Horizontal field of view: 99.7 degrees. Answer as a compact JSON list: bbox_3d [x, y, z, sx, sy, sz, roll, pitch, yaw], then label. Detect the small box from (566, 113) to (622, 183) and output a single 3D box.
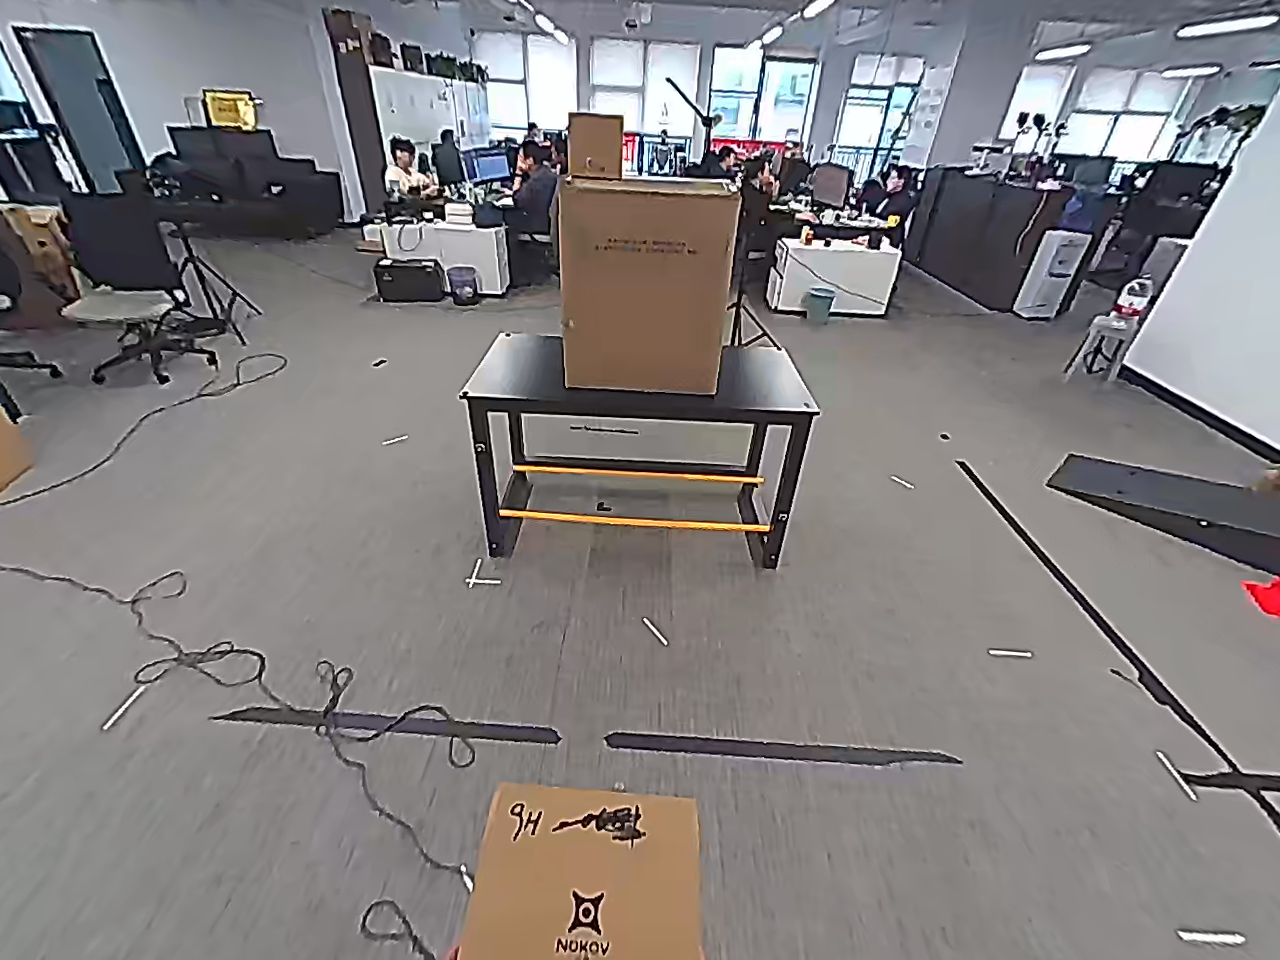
[{"bbox_3d":[-0.140,-1.026,1.673,0.168,0.176,0.179,0,33,-3],"label":"small box"}]
